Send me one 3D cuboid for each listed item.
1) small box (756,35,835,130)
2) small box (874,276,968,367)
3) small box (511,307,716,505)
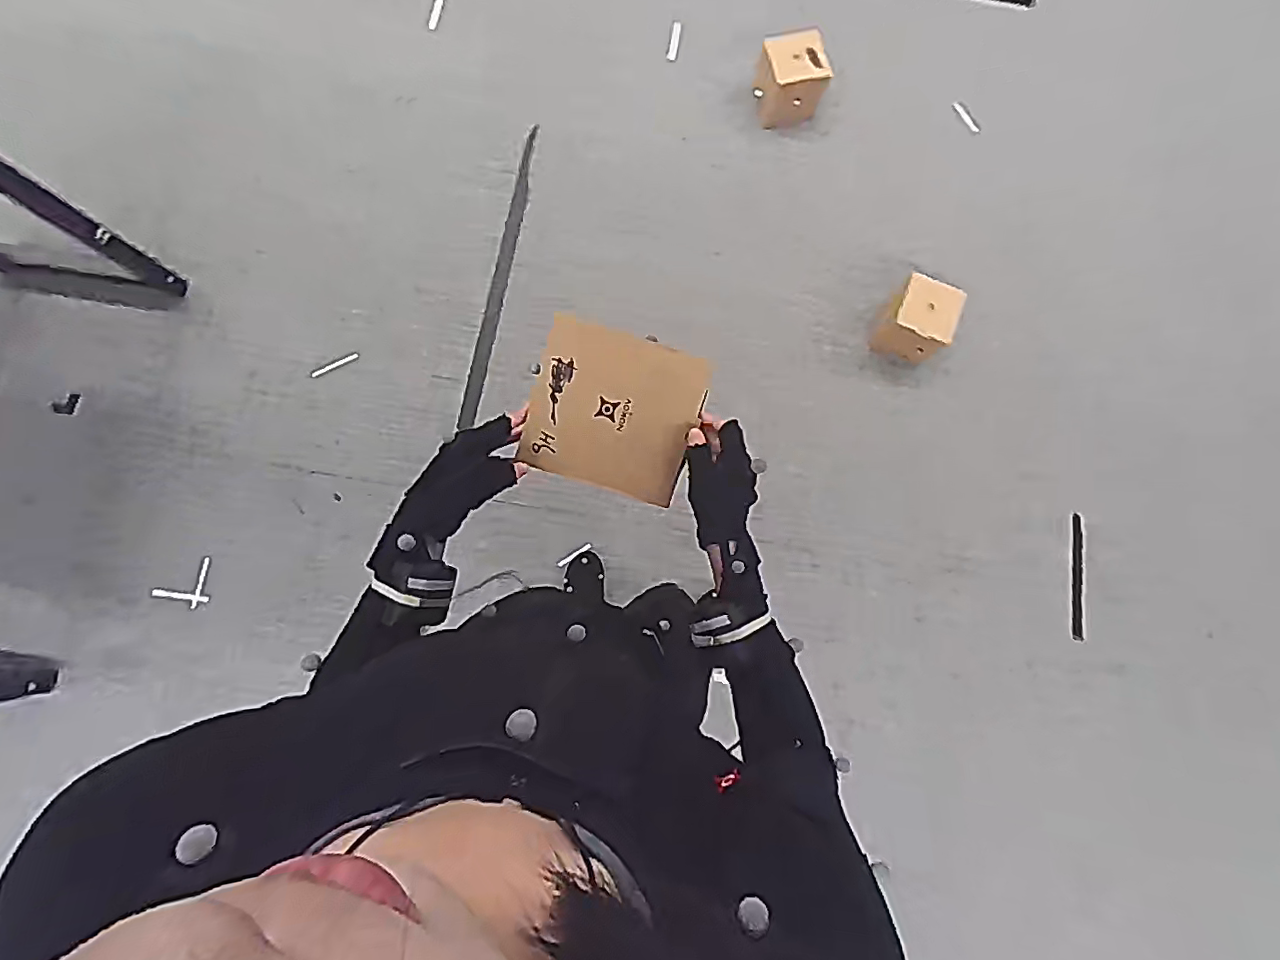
[{"bbox_3d":[0.488,-1.259,1.721,0.179,0.176,0.168,-13,81,-3],"label":"small box"},{"bbox_3d":[0.823,-0.461,1.602,0.168,0.176,0.179,22,79,0],"label":"small box"},{"bbox_3d":[-0.032,-0.087,0.635,0.179,0.176,0.168,17,98,-6],"label":"small box"}]
